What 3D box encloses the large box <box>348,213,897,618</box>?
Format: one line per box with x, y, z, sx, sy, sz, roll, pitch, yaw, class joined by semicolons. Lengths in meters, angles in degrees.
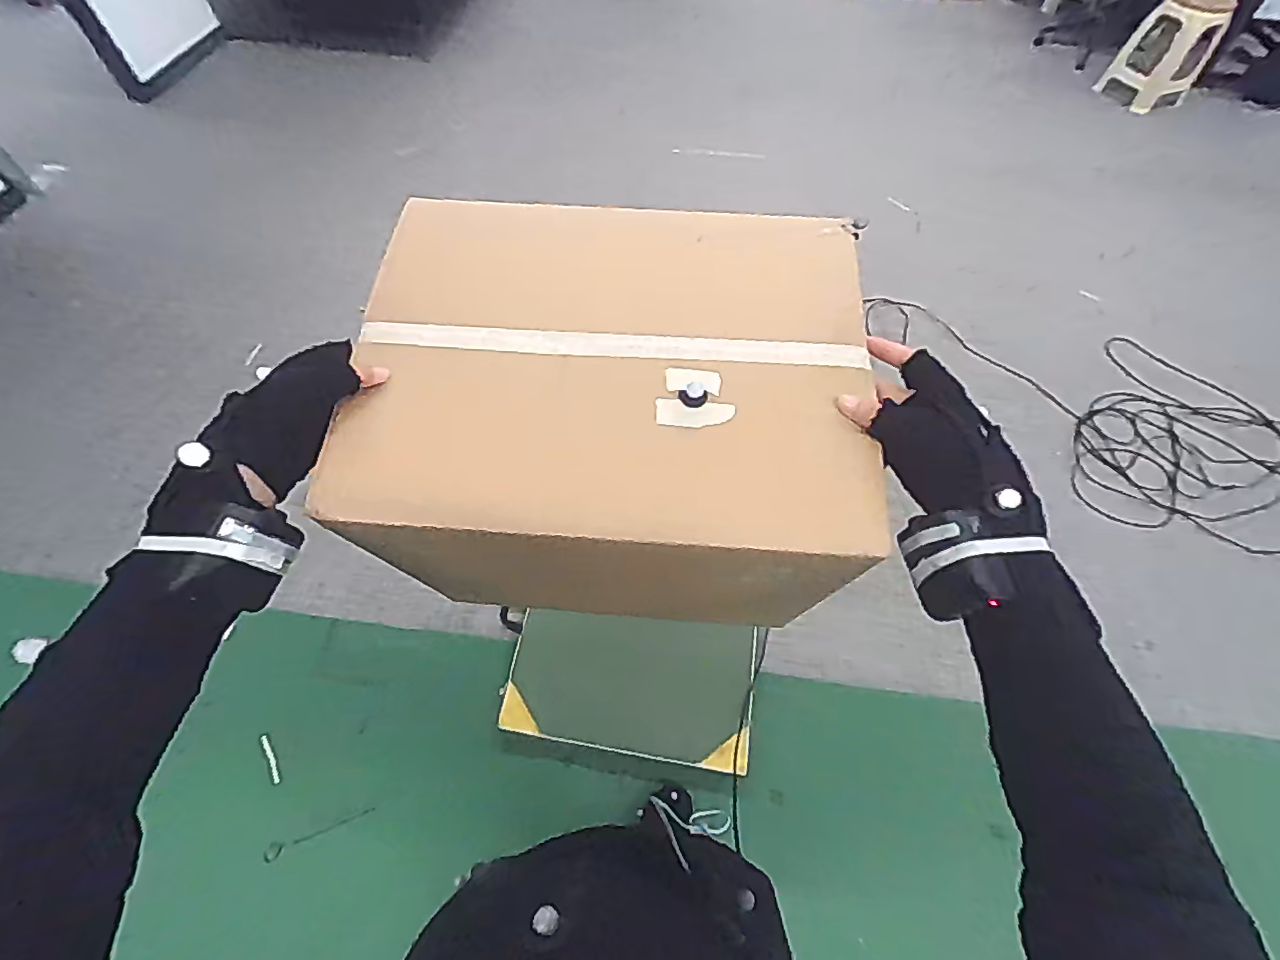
-0.008;-0.042;0.580;0.408;0.320;0.320;4;67;1;large box
